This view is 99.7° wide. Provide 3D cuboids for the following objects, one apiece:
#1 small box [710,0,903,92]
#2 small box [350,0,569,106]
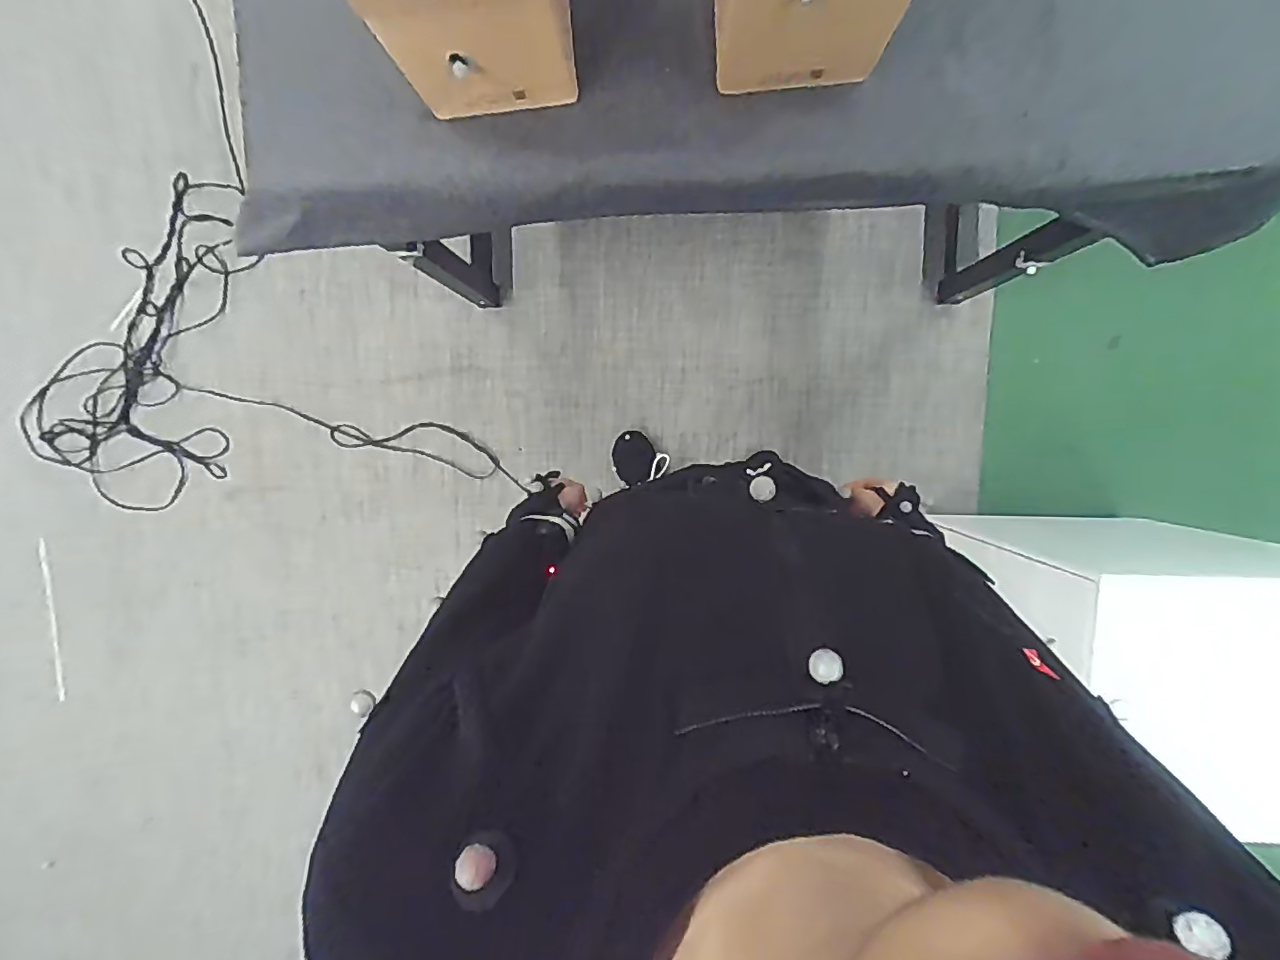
[{"bbox_3d":[0.154,-0.516,0.513,0.168,0.176,0.179,-3,94,3],"label":"small box"},{"bbox_3d":[-0.170,-0.500,0.529,0.168,0.176,0.179,-5,95,3],"label":"small box"}]
